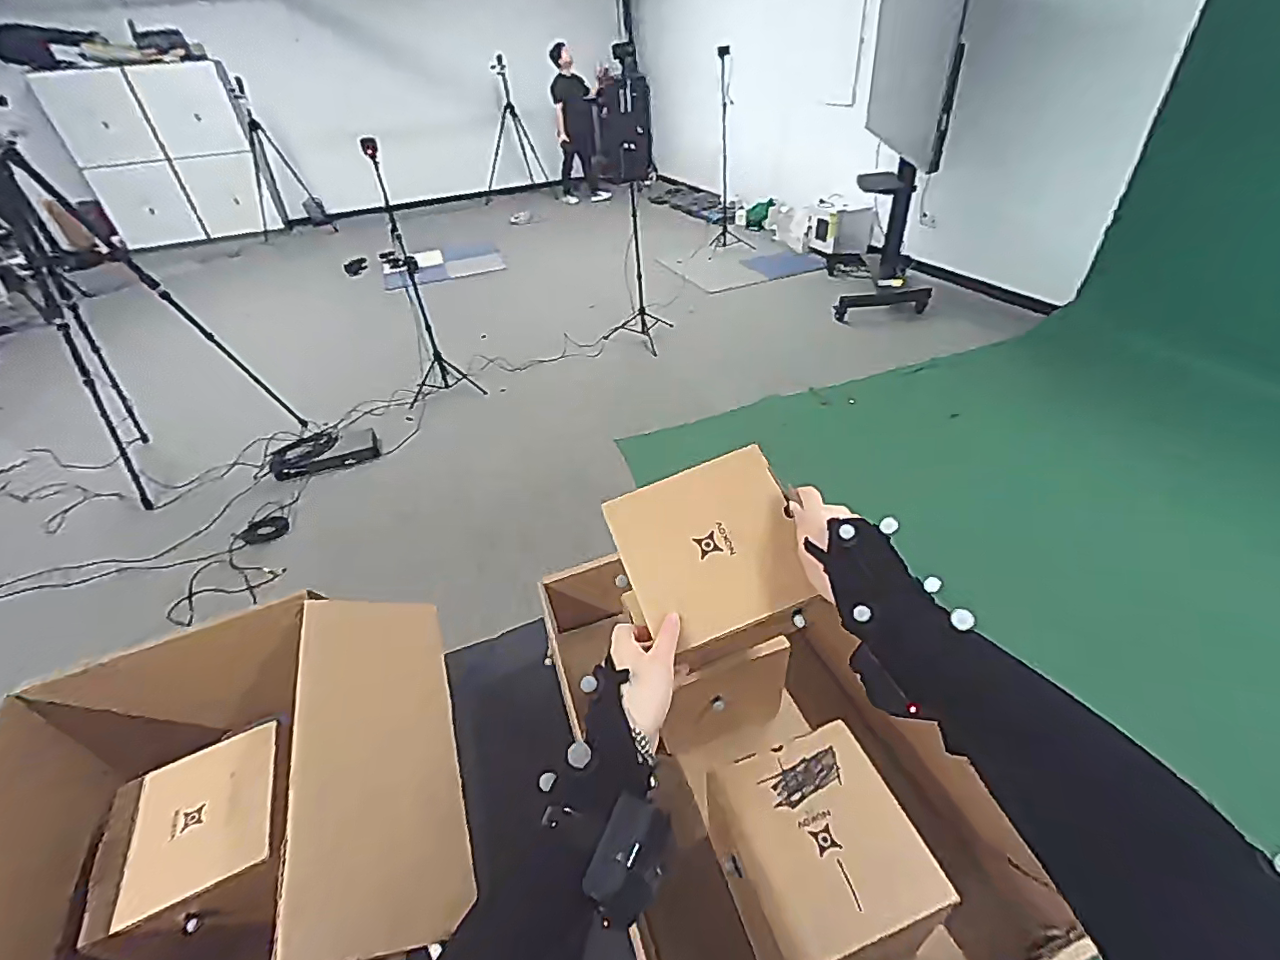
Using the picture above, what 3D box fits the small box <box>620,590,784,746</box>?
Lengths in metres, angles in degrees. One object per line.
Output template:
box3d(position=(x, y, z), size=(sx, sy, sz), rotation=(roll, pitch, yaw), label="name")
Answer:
box3d(position=(0.086, 0.245, 0.773), size=(0.179, 0.176, 0.168), rotation=(-17, 42, -11), label="small box")

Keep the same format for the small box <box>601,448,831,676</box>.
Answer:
box3d(position=(0.076, 0.098, 0.591), size=(0.179, 0.176, 0.168), rotation=(-22, 64, -5), label="small box")
